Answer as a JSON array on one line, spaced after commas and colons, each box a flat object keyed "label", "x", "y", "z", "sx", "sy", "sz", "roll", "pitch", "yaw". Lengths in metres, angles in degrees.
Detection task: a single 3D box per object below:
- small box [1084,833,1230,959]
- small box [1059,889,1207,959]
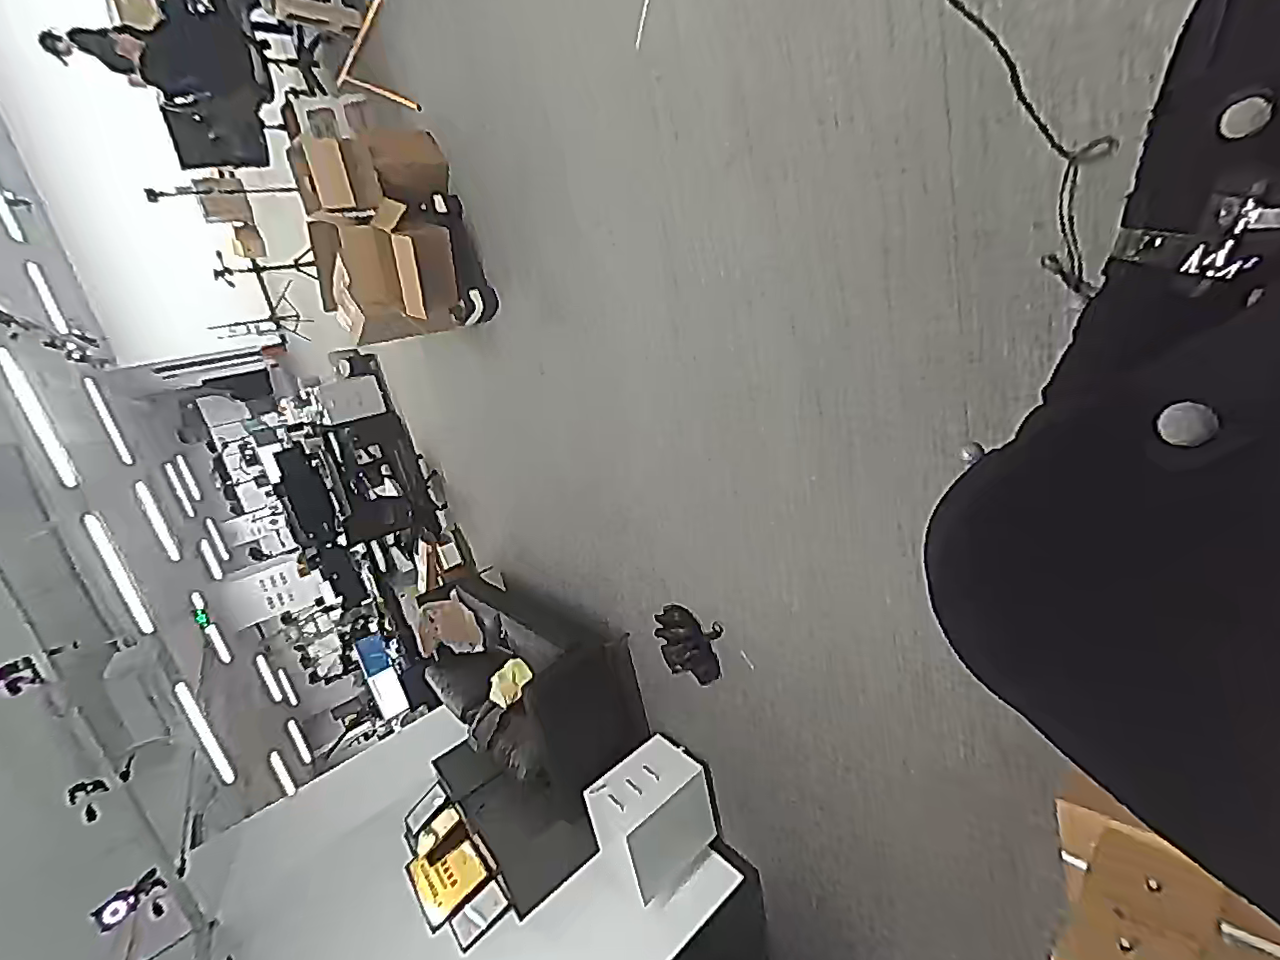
[{"label": "small box", "x": 0.986, "y": 0.827, "z": 1.035, "sx": 0.179, "sy": 0.176, "sz": 0.168, "roll": 4, "pitch": 112, "yaw": 52}, {"label": "small box", "x": 0.862, "y": 0.879, "z": 0.943, "sx": 0.168, "sy": 0.176, "sz": 0.179, "roll": 1, "pitch": 109, "yaw": 54}]
